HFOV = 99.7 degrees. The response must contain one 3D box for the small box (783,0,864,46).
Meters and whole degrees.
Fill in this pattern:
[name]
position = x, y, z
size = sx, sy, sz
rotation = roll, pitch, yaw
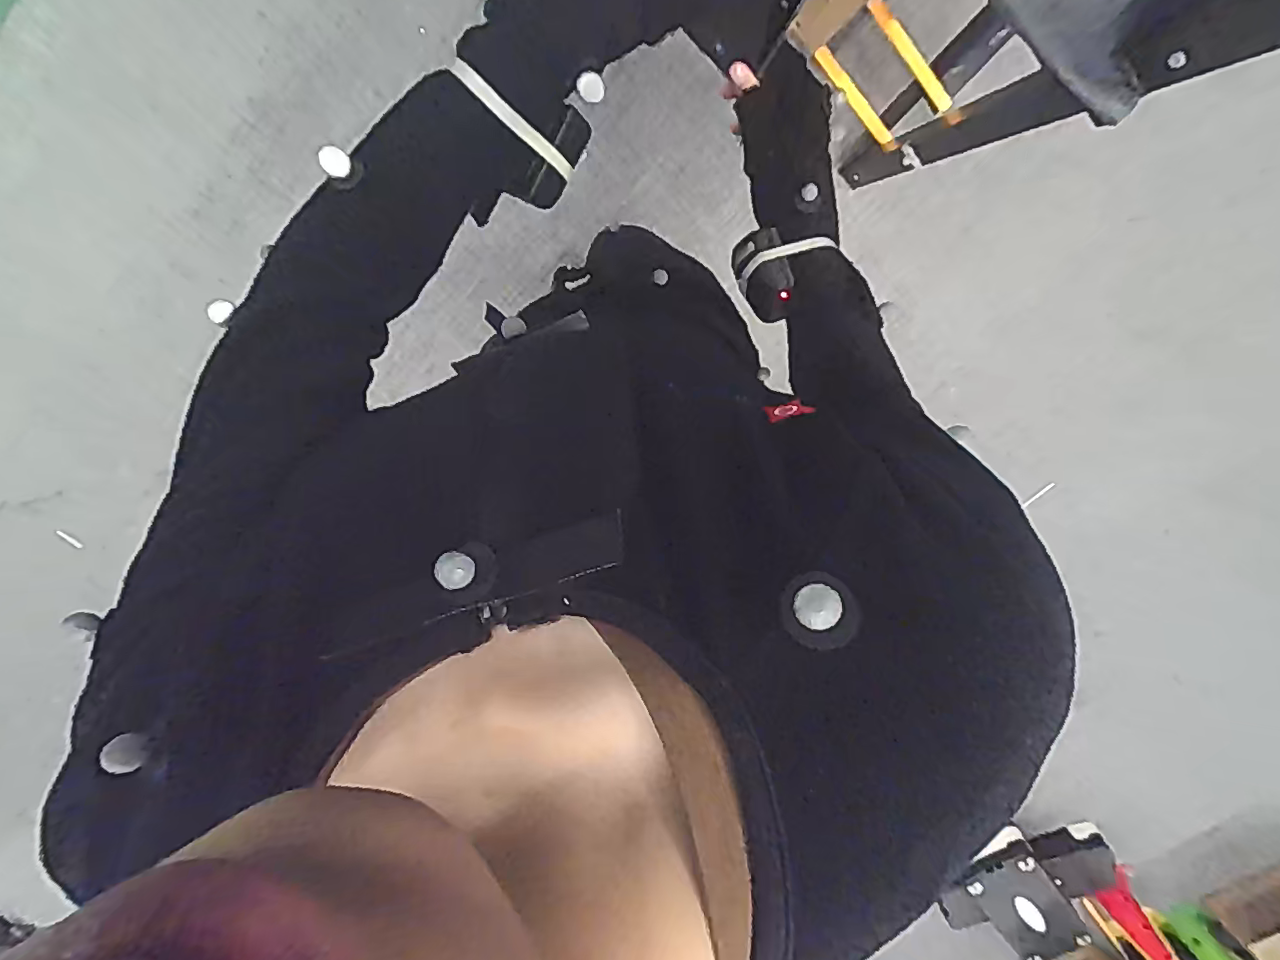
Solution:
[small box]
position = 0.354, -0.936, 0.965
size = 0.179, 0.176, 0.168
rotation = -41, 108, 13
